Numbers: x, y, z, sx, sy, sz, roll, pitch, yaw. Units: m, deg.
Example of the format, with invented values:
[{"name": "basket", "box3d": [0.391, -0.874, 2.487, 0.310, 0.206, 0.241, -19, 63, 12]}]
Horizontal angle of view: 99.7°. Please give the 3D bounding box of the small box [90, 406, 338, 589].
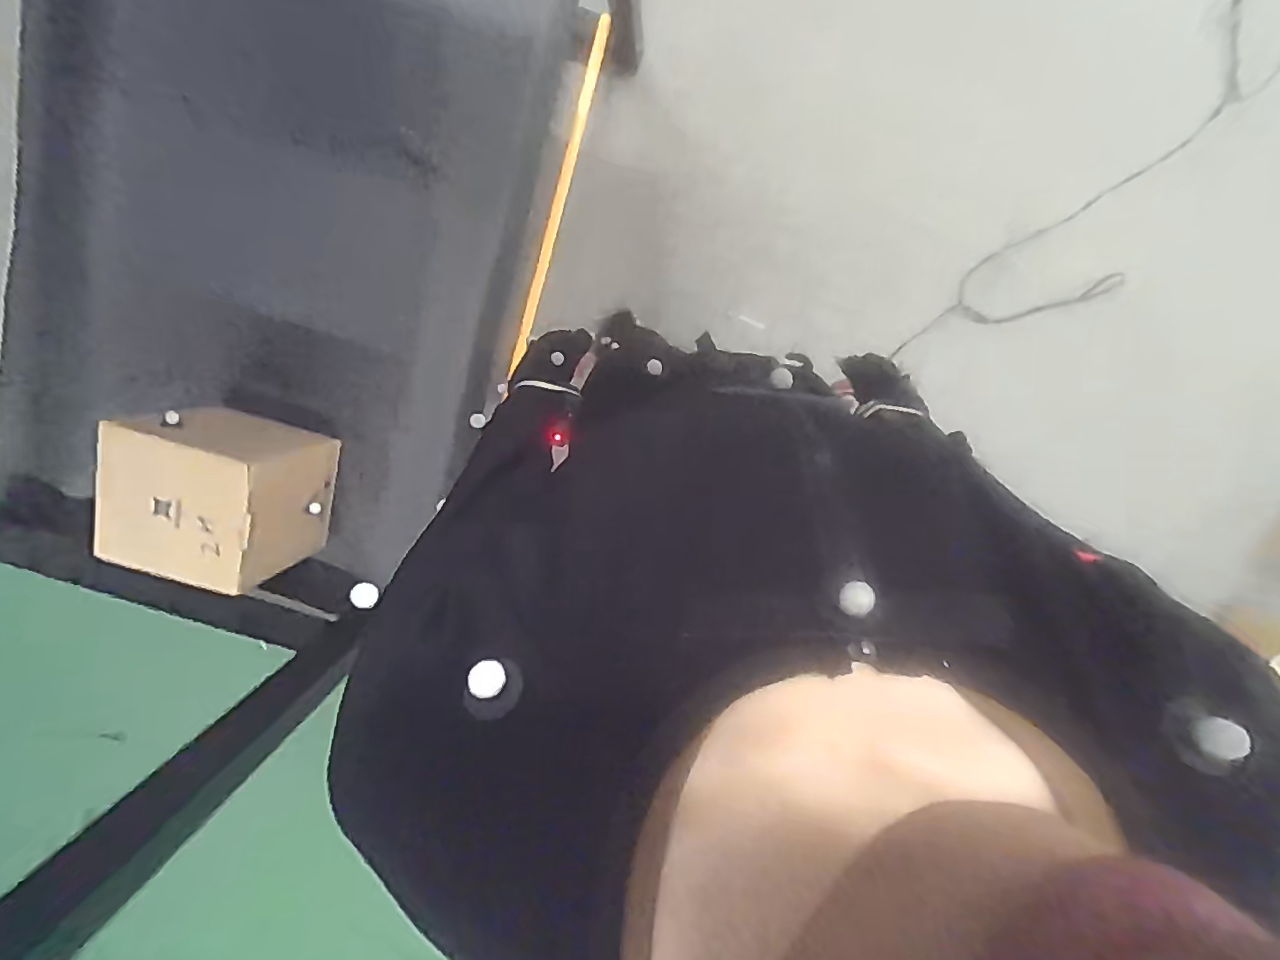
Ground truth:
[{"name": "small box", "box3d": [-0.523, 0.010, 0.682, 0.179, 0.176, 0.168, 16, 104, -1]}]
